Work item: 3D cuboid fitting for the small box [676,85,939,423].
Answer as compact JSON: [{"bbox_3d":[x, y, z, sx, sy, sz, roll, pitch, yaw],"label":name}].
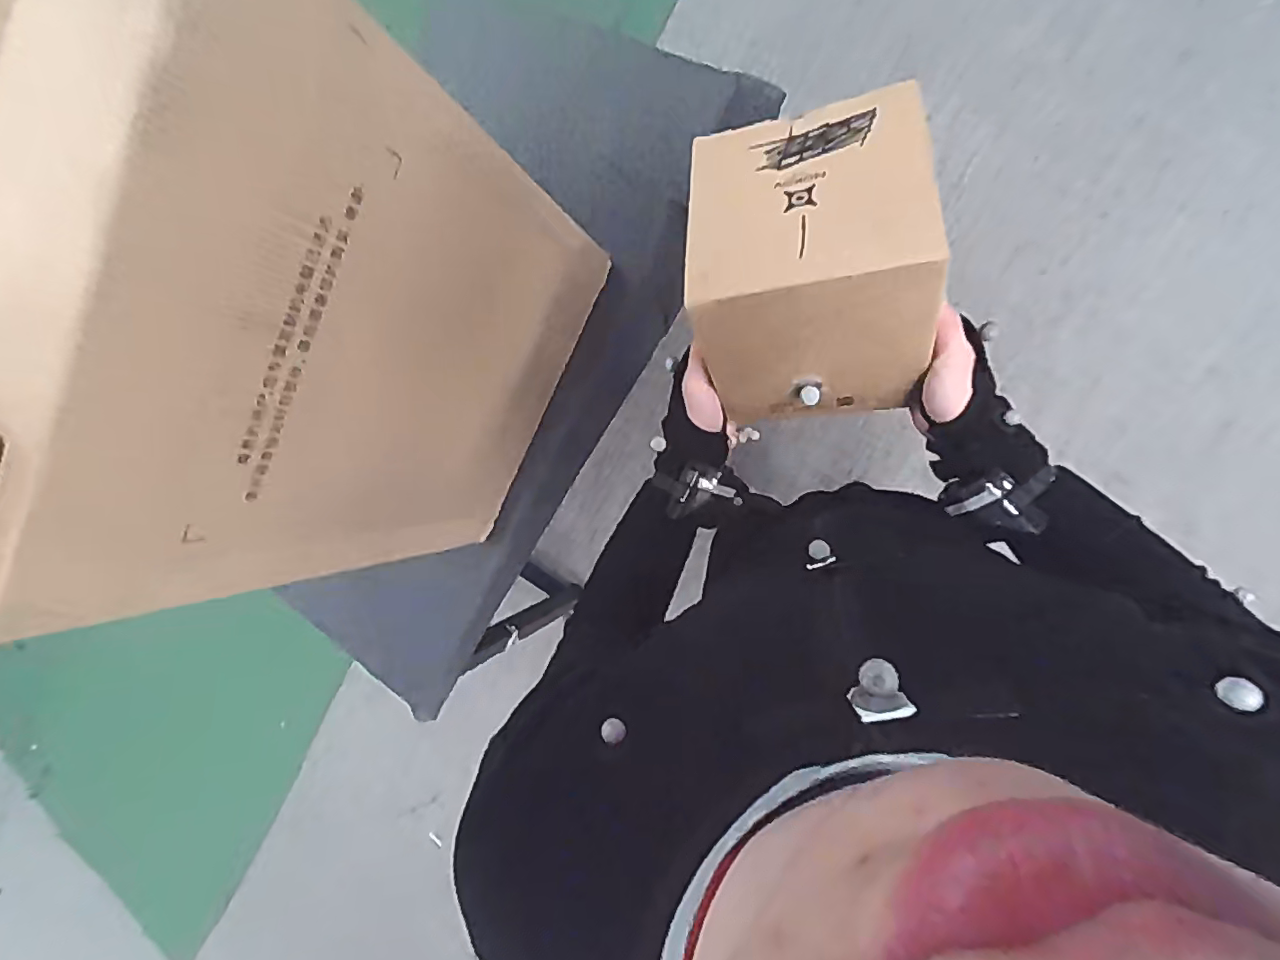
[{"bbox_3d":[0.136,-0.168,0.448,0.168,0.176,0.179,-4,65,21],"label":"small box"}]
